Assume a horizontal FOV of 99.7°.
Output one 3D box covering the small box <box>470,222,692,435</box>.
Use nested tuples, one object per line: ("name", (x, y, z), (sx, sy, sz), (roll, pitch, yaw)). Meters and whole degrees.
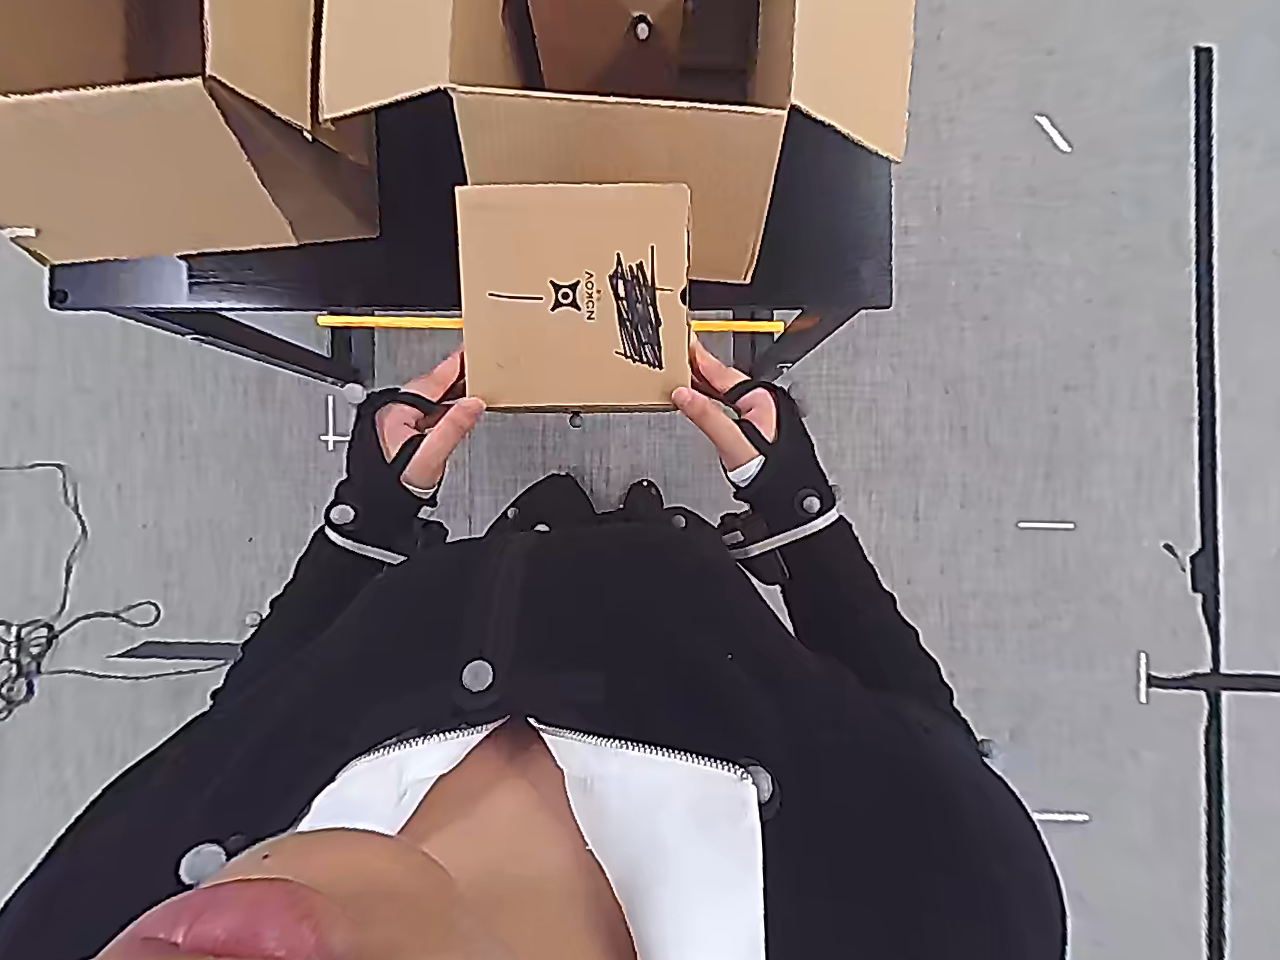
("small box", (-0.050, -0.126, 0.510), (0.179, 0.176, 0.168), (-1, 95, -2))
